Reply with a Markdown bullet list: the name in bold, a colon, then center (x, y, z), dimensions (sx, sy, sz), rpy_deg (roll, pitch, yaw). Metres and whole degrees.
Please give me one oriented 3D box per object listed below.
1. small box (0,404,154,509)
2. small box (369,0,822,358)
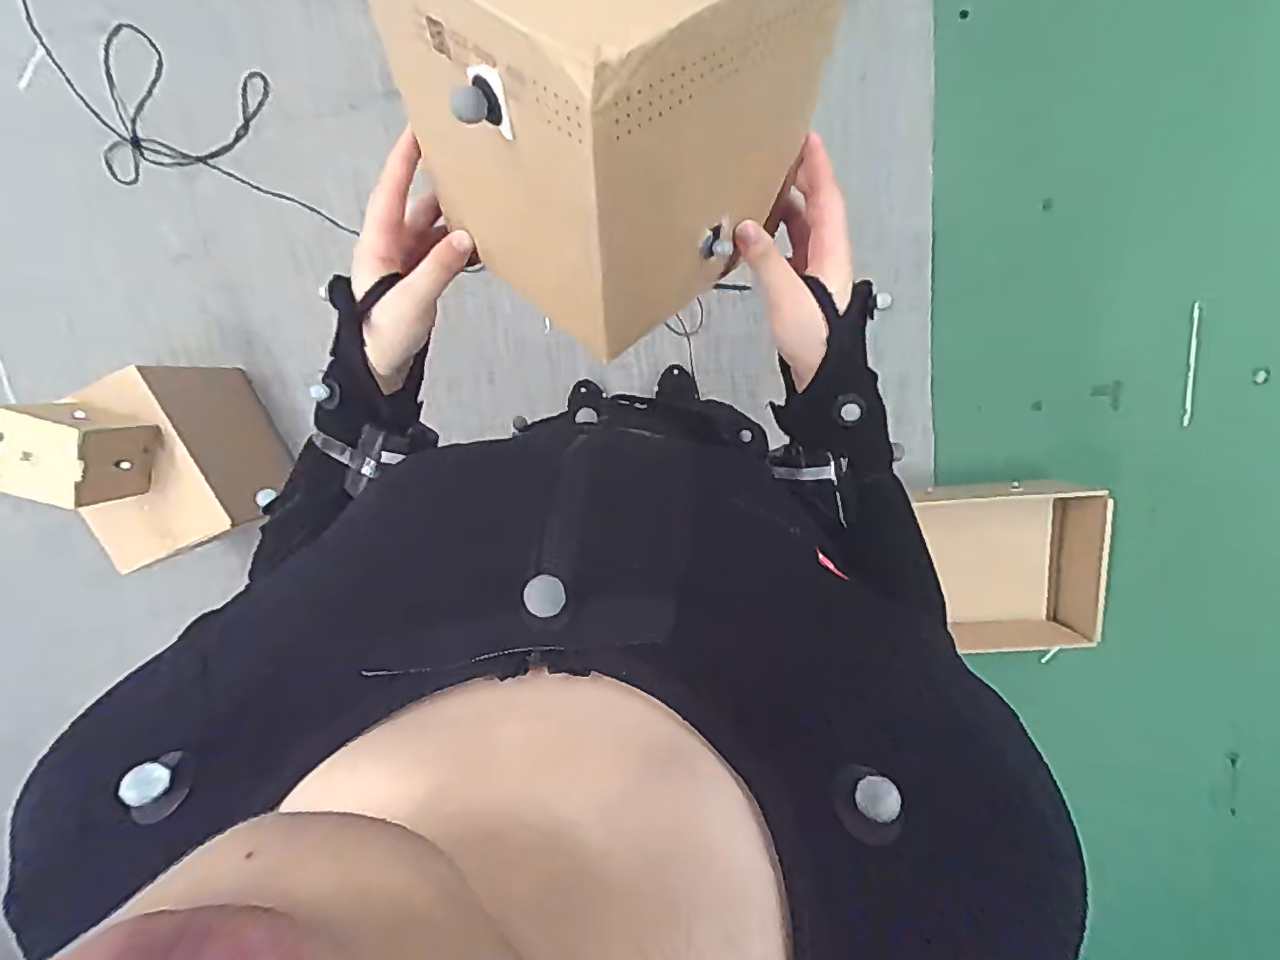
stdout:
- **small box**: center (-1.167, -0.057, 1.119), dimensions (0.179, 0.176, 0.168), rpy_deg (16, 100, -4)
- **small box**: center (-0.020, -0.215, 0.317), dimensions (0.179, 0.176, 0.168), rpy_deg (-41, 70, -20)
